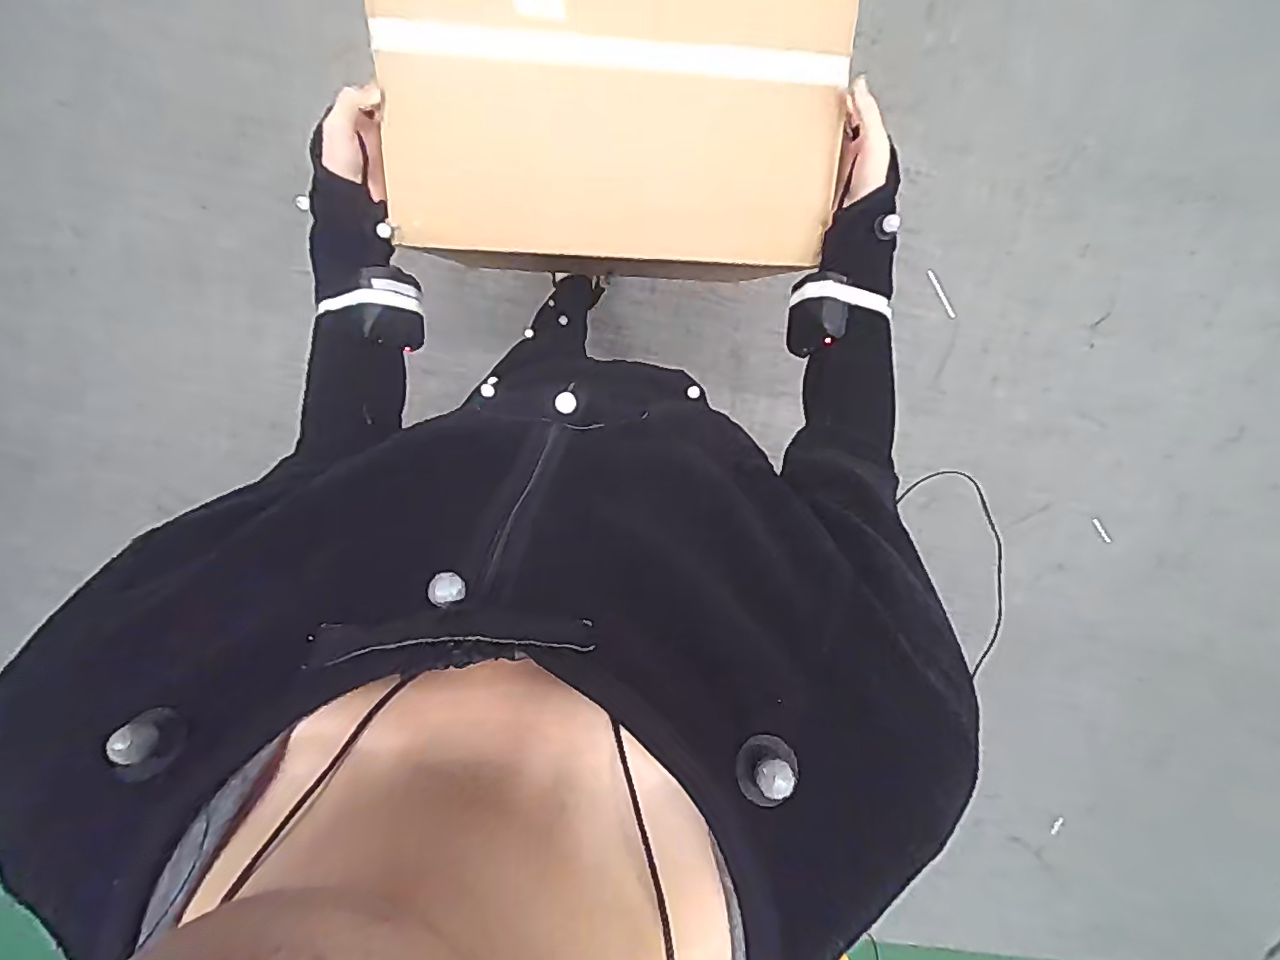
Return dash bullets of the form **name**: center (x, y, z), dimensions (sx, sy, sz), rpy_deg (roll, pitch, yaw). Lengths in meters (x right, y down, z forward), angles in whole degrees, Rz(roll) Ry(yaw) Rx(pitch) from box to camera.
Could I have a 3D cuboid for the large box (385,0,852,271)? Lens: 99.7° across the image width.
- **large box**: center (-0.024, -0.411, 0.612), dimensions (0.408, 0.320, 0.320), rpy_deg (1, 107, -5)
